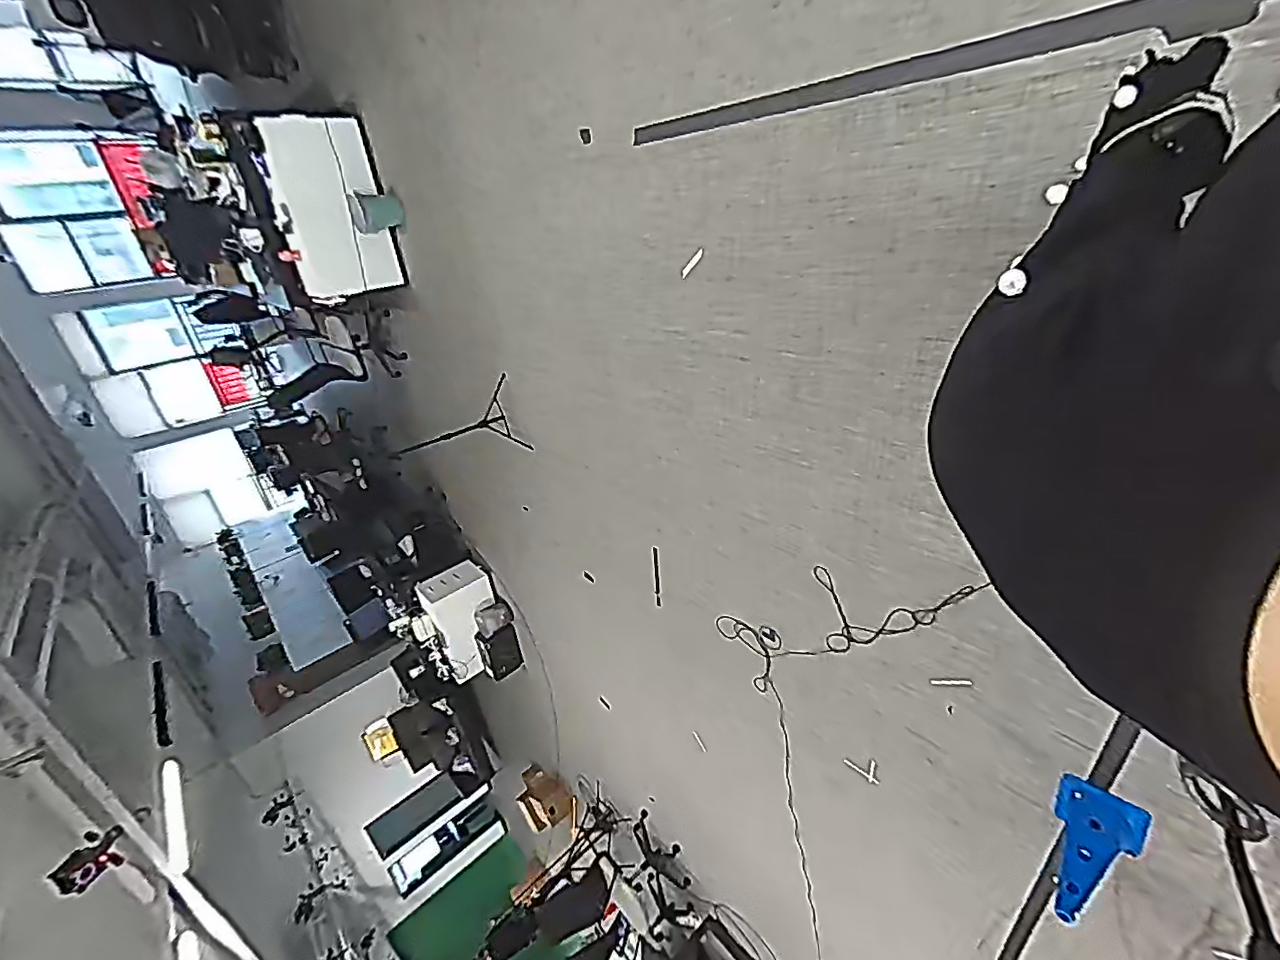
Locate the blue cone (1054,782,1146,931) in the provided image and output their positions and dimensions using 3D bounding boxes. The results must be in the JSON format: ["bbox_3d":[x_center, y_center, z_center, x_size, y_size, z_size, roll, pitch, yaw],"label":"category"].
[{"bbox_3d":[1.203,1.038,1.466,0.192,0.380,0.193,19,127,44],"label":"blue cone"}]
